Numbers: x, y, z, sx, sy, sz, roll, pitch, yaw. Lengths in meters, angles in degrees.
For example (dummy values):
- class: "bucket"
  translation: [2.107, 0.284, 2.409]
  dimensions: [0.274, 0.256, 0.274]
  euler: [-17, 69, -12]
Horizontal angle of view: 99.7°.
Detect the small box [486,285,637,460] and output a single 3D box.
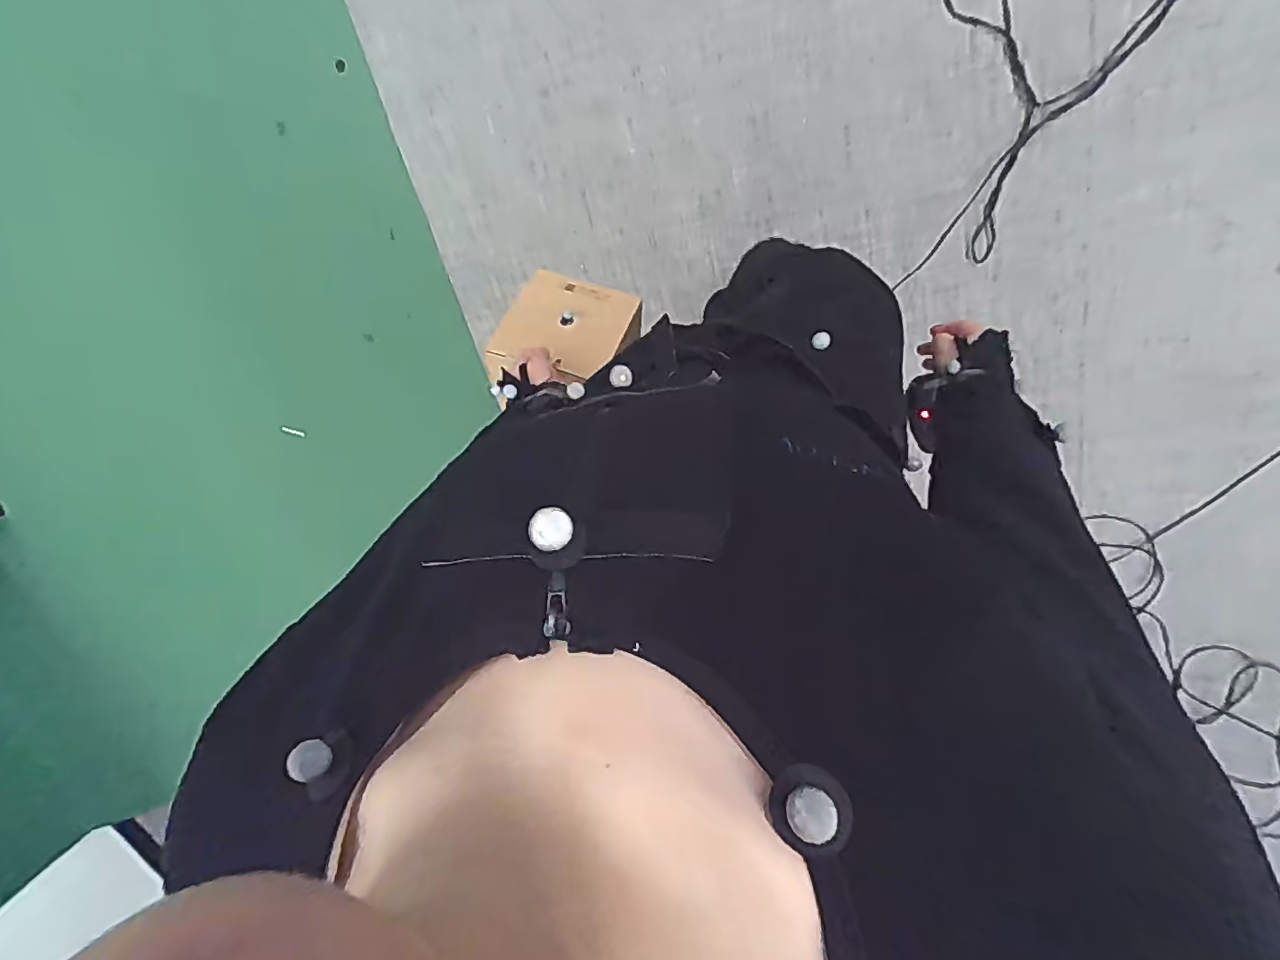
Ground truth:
- class: "small box"
  translation: [-0.108, -0.163, 0.819]
  dimensions: [0.168, 0.176, 0.179]
  euler: [17, 151, 7]
